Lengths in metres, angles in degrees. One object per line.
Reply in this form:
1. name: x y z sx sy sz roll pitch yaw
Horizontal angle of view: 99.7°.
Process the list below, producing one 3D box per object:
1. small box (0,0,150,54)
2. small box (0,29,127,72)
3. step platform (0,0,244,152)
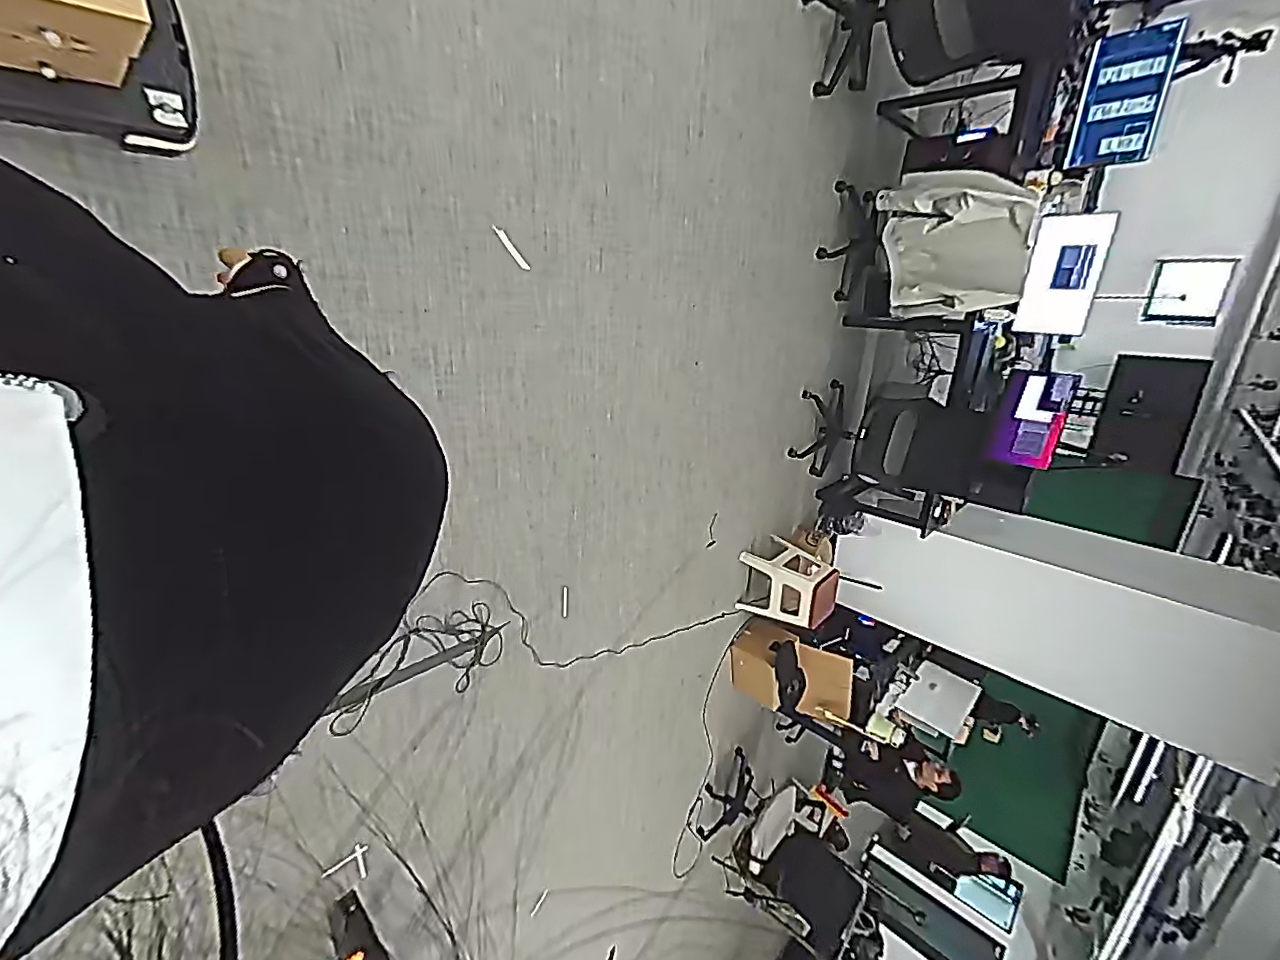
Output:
1. small box: -0.716 -0.643 0.633 0.168 0.176 0.179 -20 119 -42
2. small box: -0.841 -0.679 0.734 0.168 0.176 0.179 -19 119 -42
3. step platform: -0.907 -0.604 0.635 0.684 0.204 0.286 -19 118 -44
